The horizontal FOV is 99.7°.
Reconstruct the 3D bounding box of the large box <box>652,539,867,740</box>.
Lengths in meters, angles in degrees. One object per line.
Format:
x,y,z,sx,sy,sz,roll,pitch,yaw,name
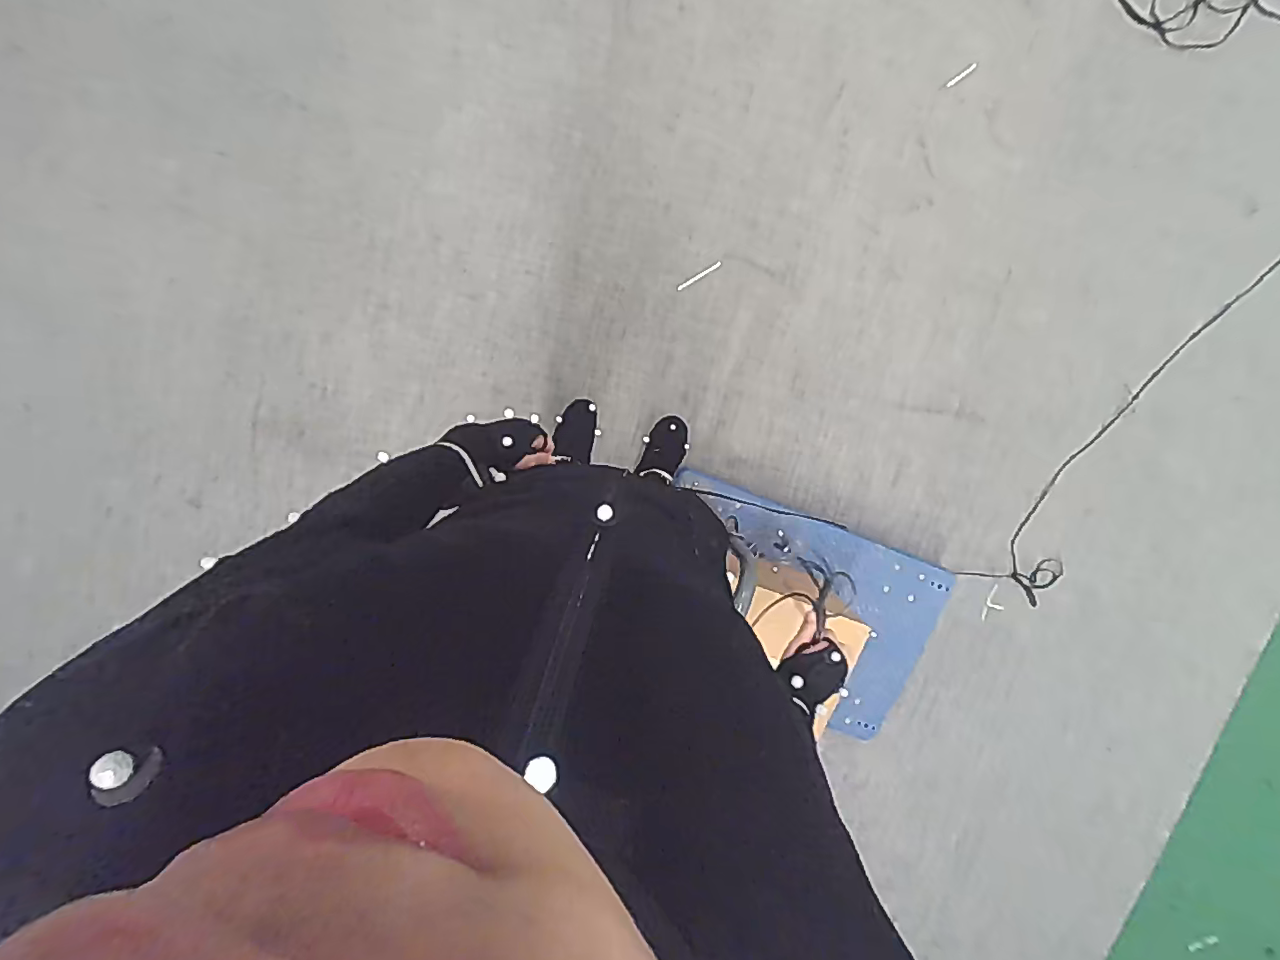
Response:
0.277,0.388,1.387,0.408,0.320,0.320,21,100,-7,large box
